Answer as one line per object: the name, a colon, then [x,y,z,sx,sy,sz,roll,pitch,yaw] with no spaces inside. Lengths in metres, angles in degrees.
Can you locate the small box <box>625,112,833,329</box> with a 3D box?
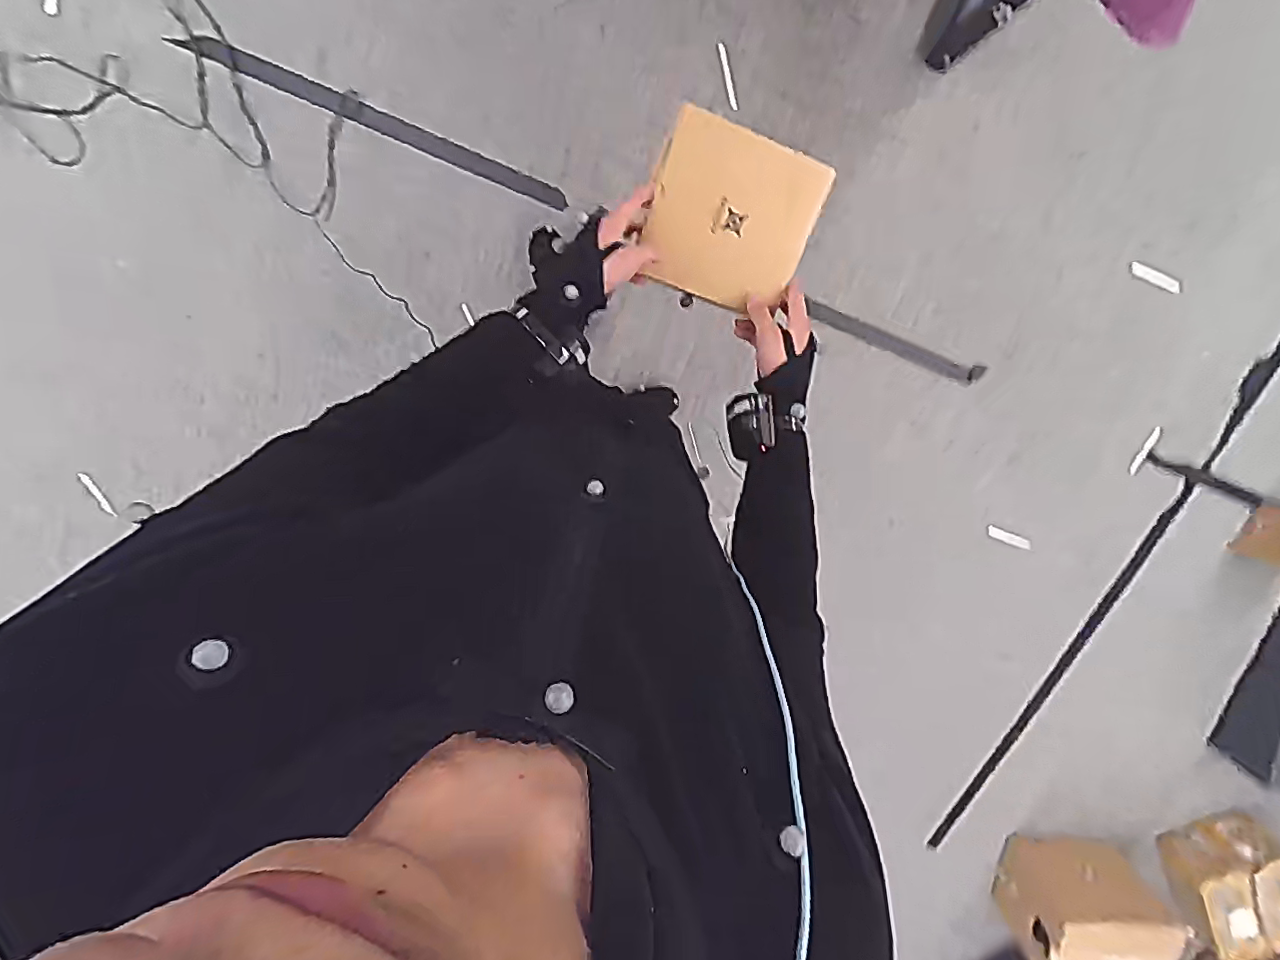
small box: [0.090,-0.297,0.646,0.179,0.176,0.168,18,109,-9]
